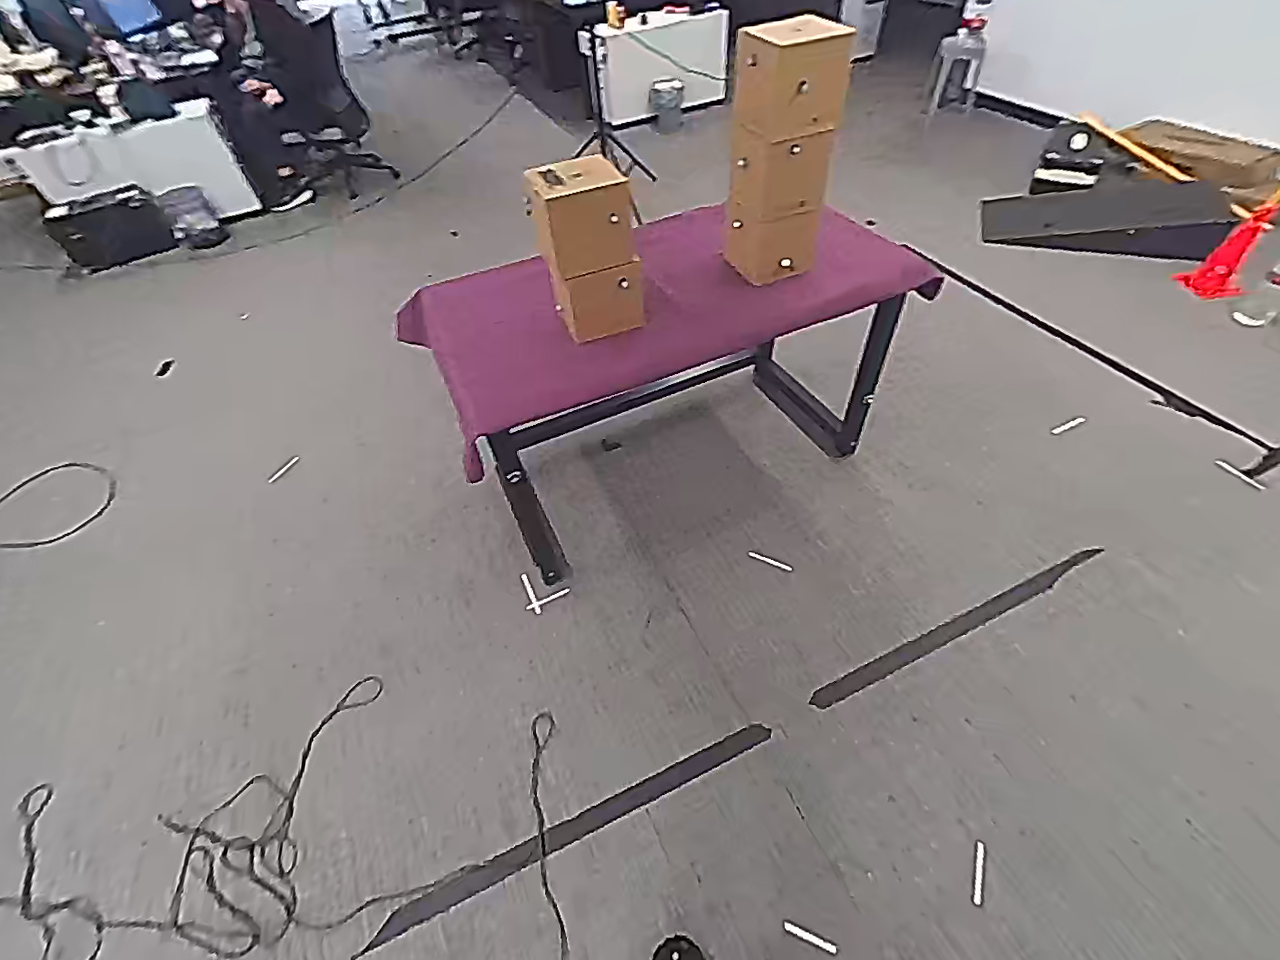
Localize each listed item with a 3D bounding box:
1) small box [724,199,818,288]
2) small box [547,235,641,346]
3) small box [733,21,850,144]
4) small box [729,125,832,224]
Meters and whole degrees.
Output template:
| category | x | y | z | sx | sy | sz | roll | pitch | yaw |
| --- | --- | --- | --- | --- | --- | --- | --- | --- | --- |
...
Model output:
| category | x | y | z | sx | sy | sz | roll | pitch | yaw |
| --- | --- | --- | --- | --- | --- | --- | --- | --- | --- |
| small box | 0.326 | -0.621 | 1.387 | 0.168 | 0.176 | 0.179 | -20 | 51 | -11 |
| small box | -0.104 | -0.446 | 1.279 | 0.179 | 0.176 | 0.168 | -20 | 50 | -11 |
| small box | 0.307 | -0.825 | 1.132 | 0.168 | 0.176 | 0.179 | -19 | 50 | -9 |
| small box | 0.316 | -0.724 | 1.260 | 0.168 | 0.176 | 0.179 | -19 | 50 | -9 |
